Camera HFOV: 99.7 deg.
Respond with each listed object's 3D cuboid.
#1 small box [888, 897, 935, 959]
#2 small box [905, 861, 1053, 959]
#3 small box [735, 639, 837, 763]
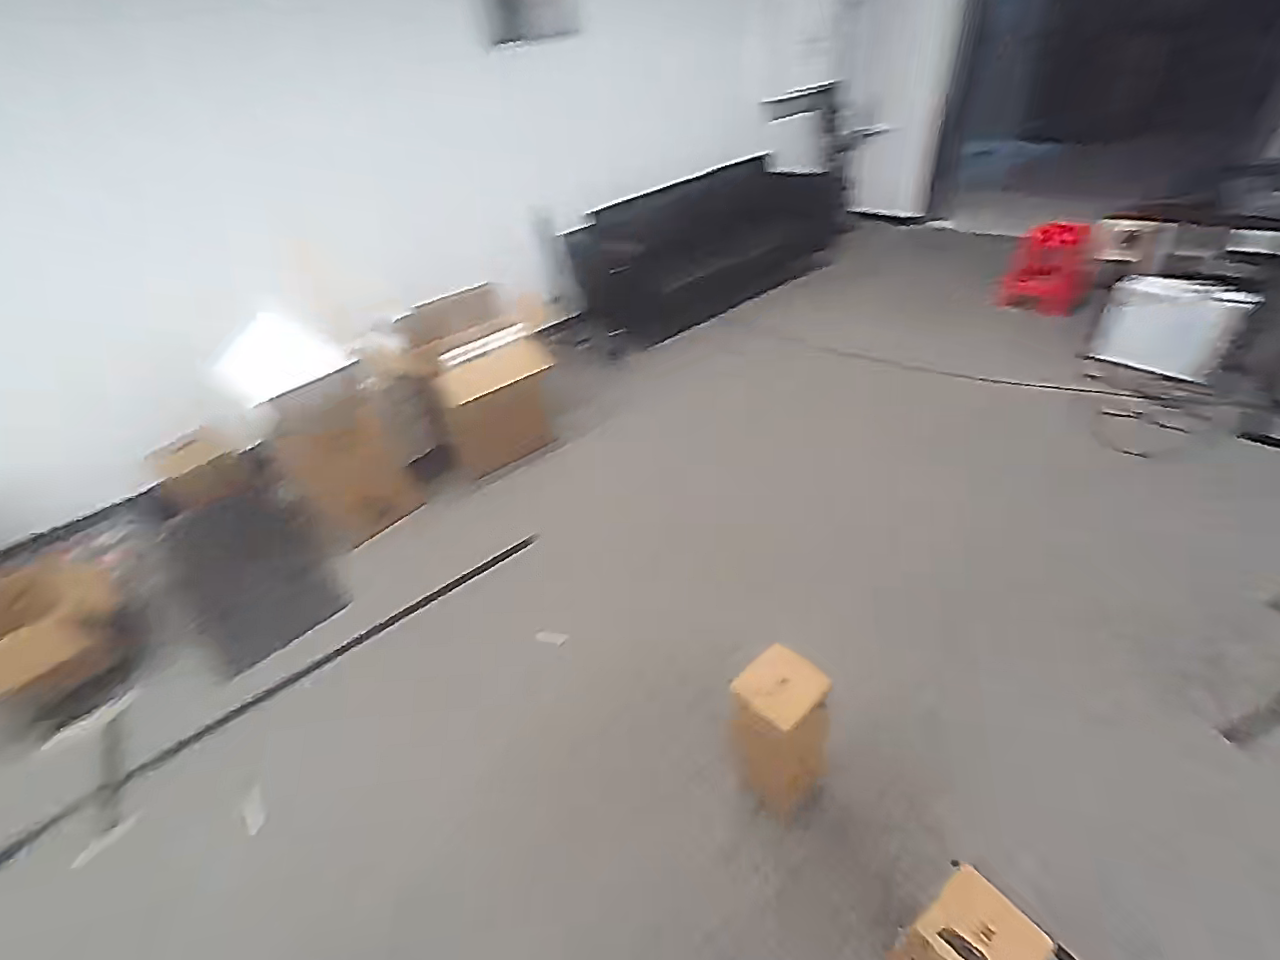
[{"bbox_3d":[0.650,1.018,1.138,0.179,0.176,0.168,-29,42,-23],"label":"small box"},{"bbox_3d":[0.635,0.892,1.034,0.179,0.176,0.168,-28,42,-24],"label":"small box"},{"bbox_3d":[0.344,0.527,1.293,0.179,0.176,0.168,-32,41,-26],"label":"small box"}]
